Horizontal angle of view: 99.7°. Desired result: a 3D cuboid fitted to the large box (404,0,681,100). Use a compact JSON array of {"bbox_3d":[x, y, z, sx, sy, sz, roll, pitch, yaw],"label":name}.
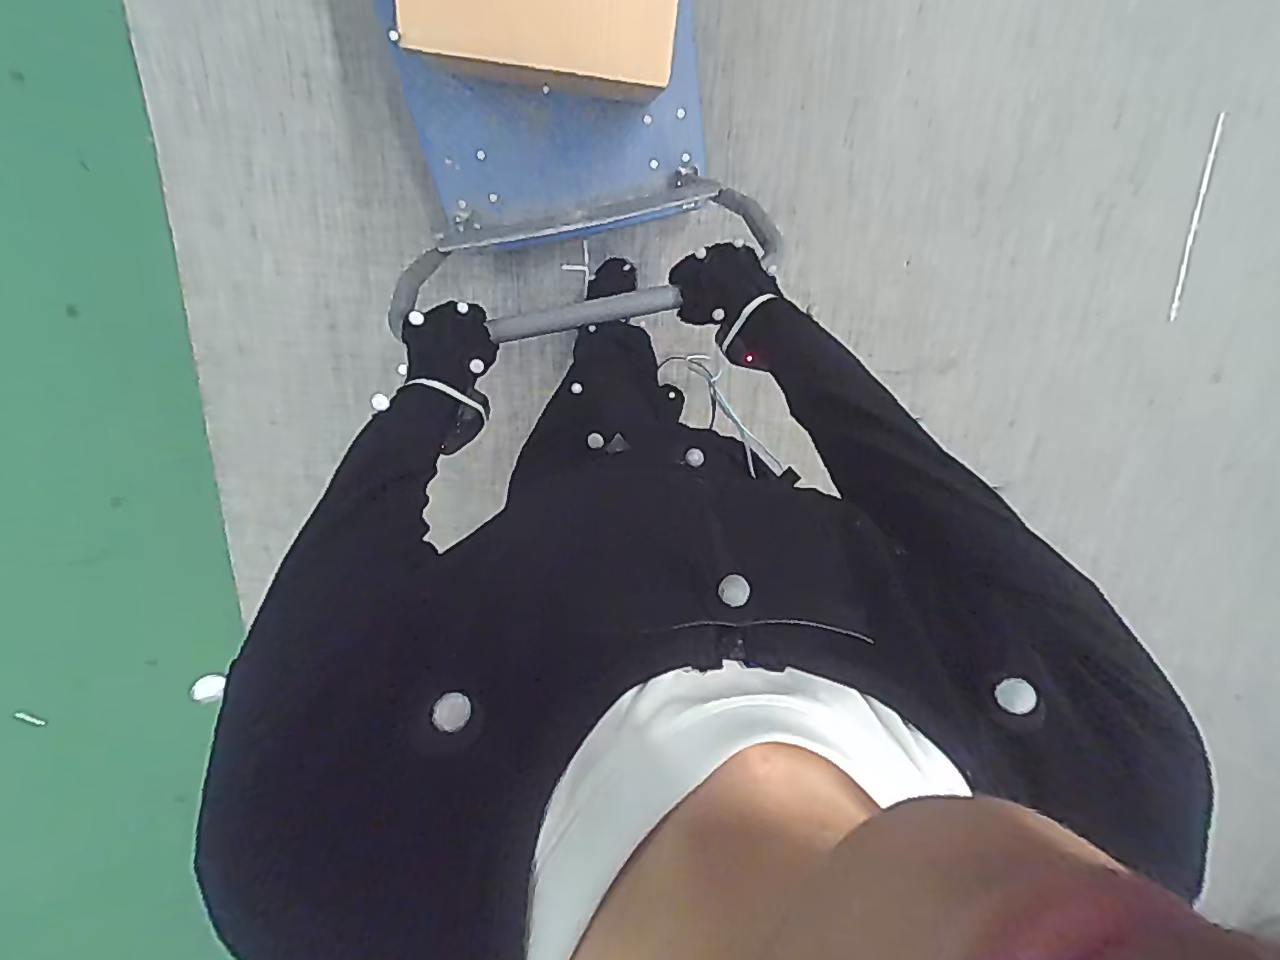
[{"bbox_3d":[-0.139,-0.828,0.873,0.408,0.320,0.320,4,120,-6],"label":"large box"}]
